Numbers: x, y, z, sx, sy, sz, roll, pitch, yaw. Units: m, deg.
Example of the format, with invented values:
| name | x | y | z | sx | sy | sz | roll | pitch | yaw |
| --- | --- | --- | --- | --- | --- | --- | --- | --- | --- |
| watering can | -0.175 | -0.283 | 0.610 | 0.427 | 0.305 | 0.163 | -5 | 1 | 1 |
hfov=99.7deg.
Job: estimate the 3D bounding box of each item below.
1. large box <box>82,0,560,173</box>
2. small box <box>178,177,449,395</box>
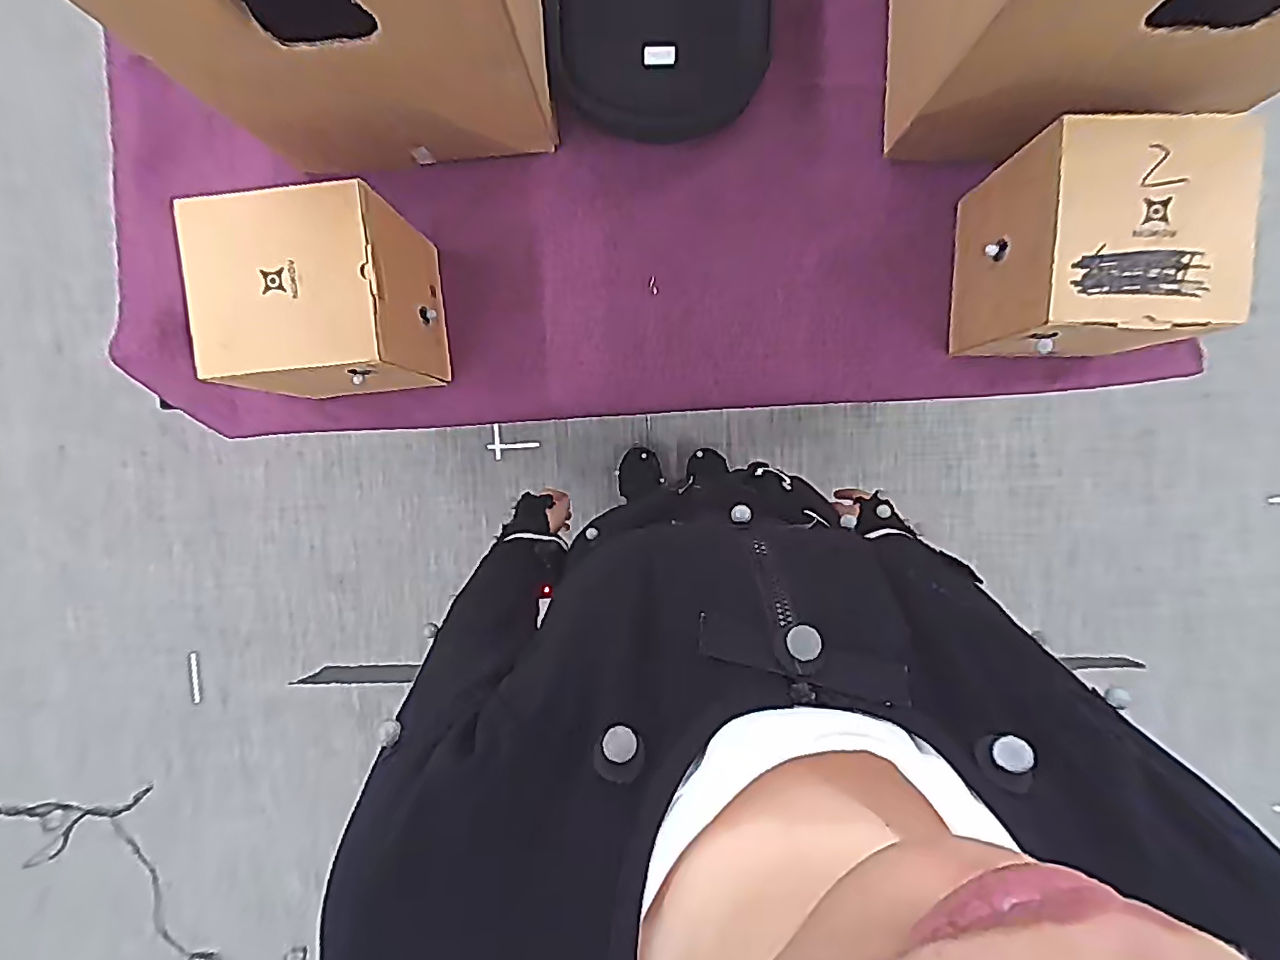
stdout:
| name | x | y | z | sx | sy | sz | roll | pitch | yaw |
| --- | --- | --- | --- | --- | --- | --- | --- | --- | --- |
| large box | -0.264 | -0.560 | 0.476 | 0.320 | 0.320 | 0.408 | -5 | 96 | 3 |
| small box | -0.326 | -0.188 | 0.573 | 0.179 | 0.176 | 0.168 | -6 | 93 | 2 |
